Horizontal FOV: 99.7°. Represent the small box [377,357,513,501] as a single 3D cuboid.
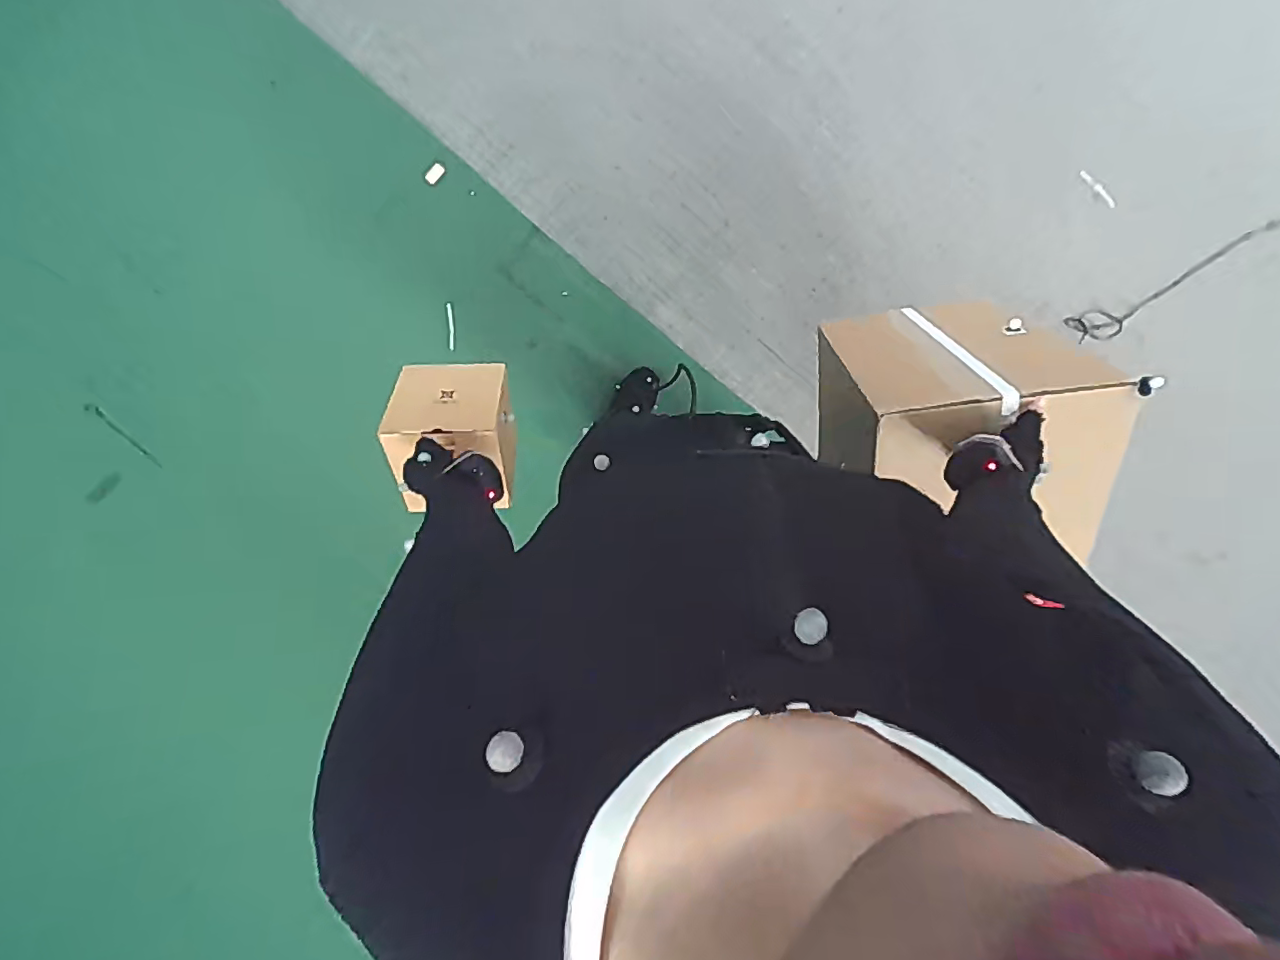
[{"bbox_3d":[-0.305,-0.084,0.890,0.168,0.179,0.176,-2,137,-5],"label":"small box"}]
